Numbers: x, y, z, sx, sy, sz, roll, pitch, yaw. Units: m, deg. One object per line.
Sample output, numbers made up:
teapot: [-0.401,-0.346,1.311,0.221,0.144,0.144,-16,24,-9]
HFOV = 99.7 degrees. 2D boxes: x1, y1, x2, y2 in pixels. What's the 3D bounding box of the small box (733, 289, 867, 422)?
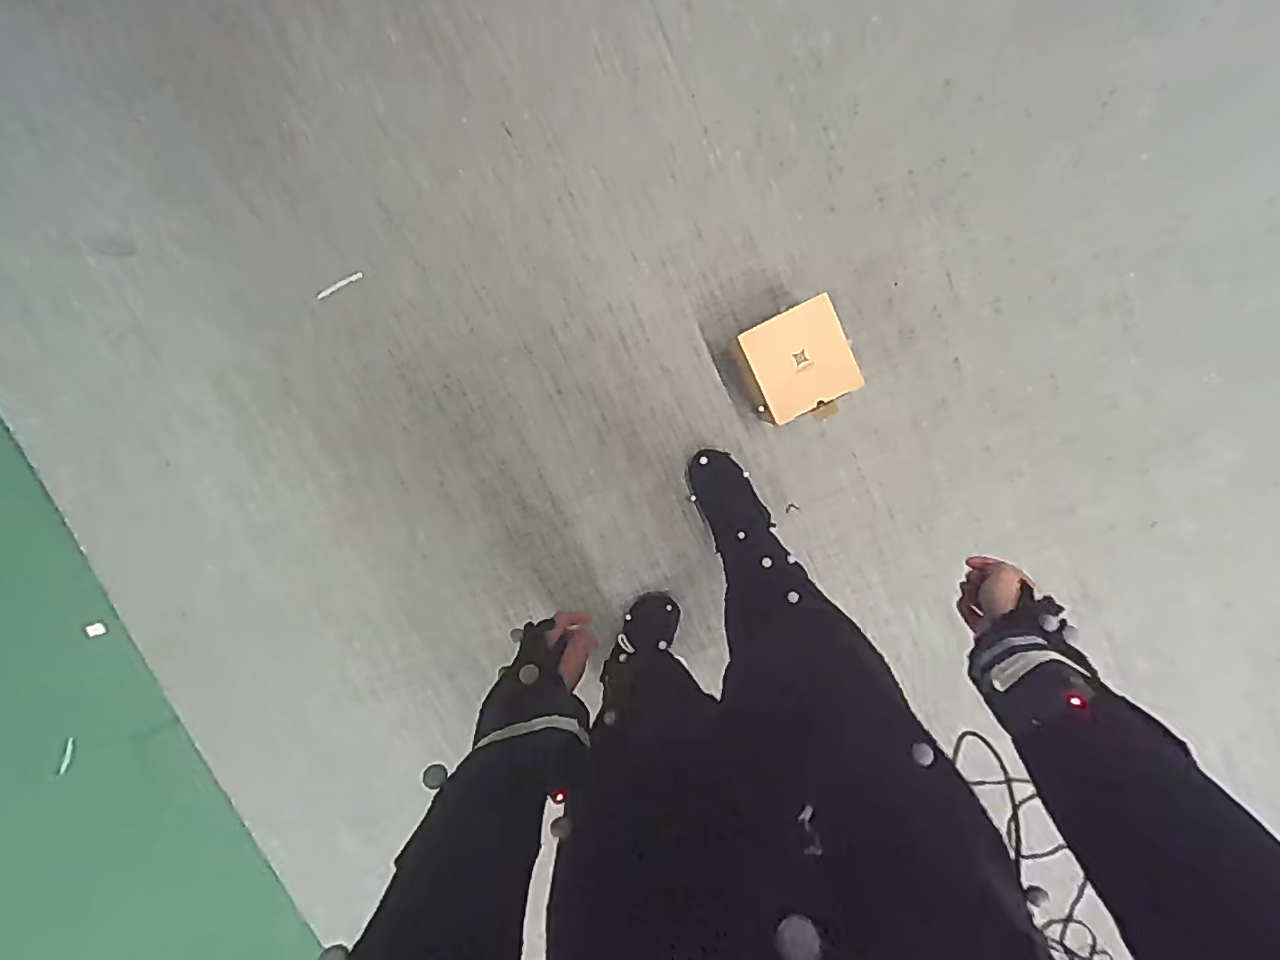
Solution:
small box: [0.282,-0.222,0.996,0.168,0.176,0.179,-25,98,8]
